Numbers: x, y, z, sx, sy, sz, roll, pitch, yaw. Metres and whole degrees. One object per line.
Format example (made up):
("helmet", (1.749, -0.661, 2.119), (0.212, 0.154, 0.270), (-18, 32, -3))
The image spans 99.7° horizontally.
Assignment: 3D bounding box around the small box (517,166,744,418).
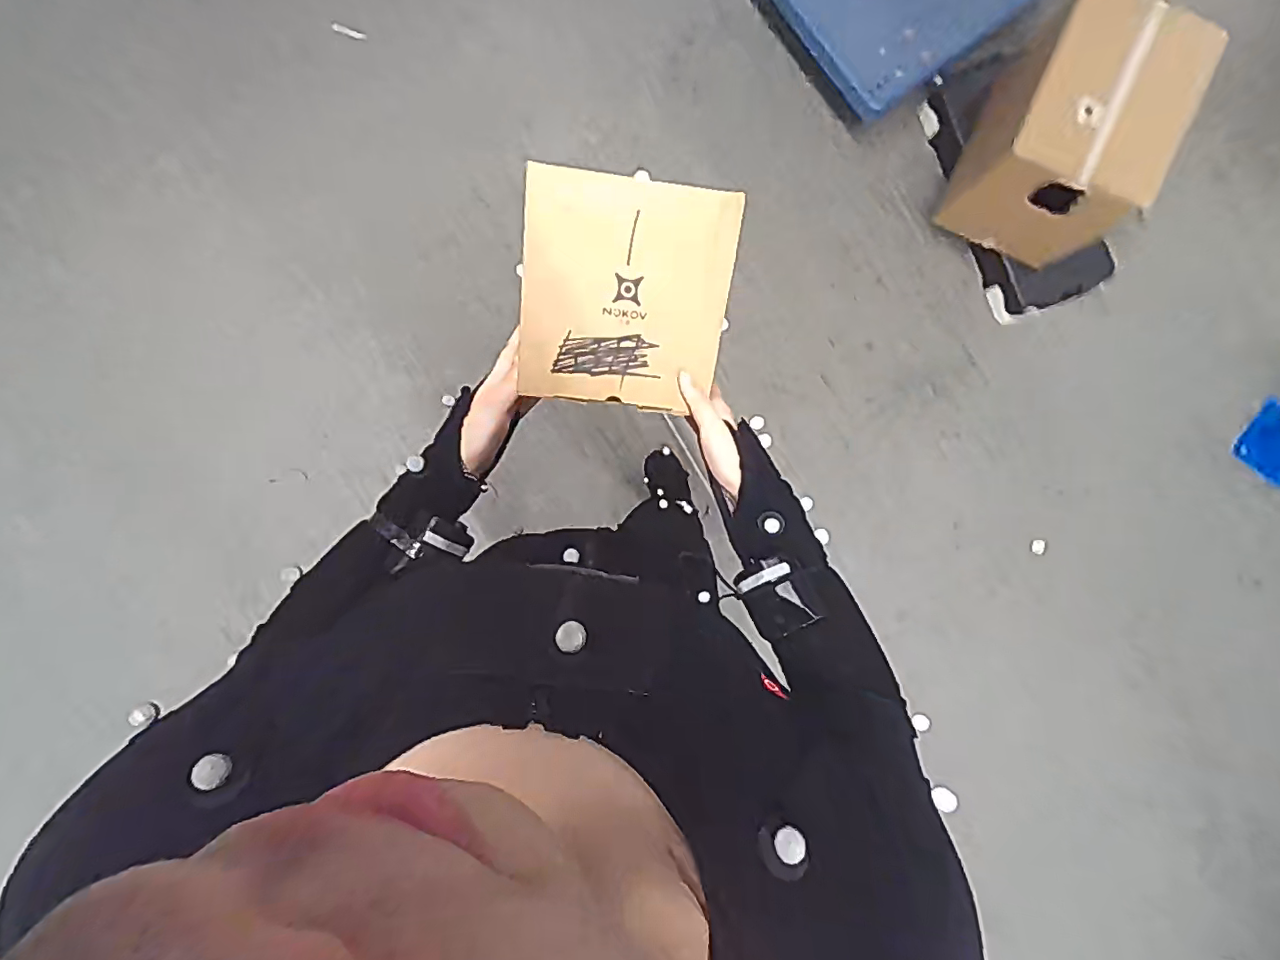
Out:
("small box", (-0.016, -0.173, 0.504), (0.168, 0.176, 0.179), (5, 113, -6))
